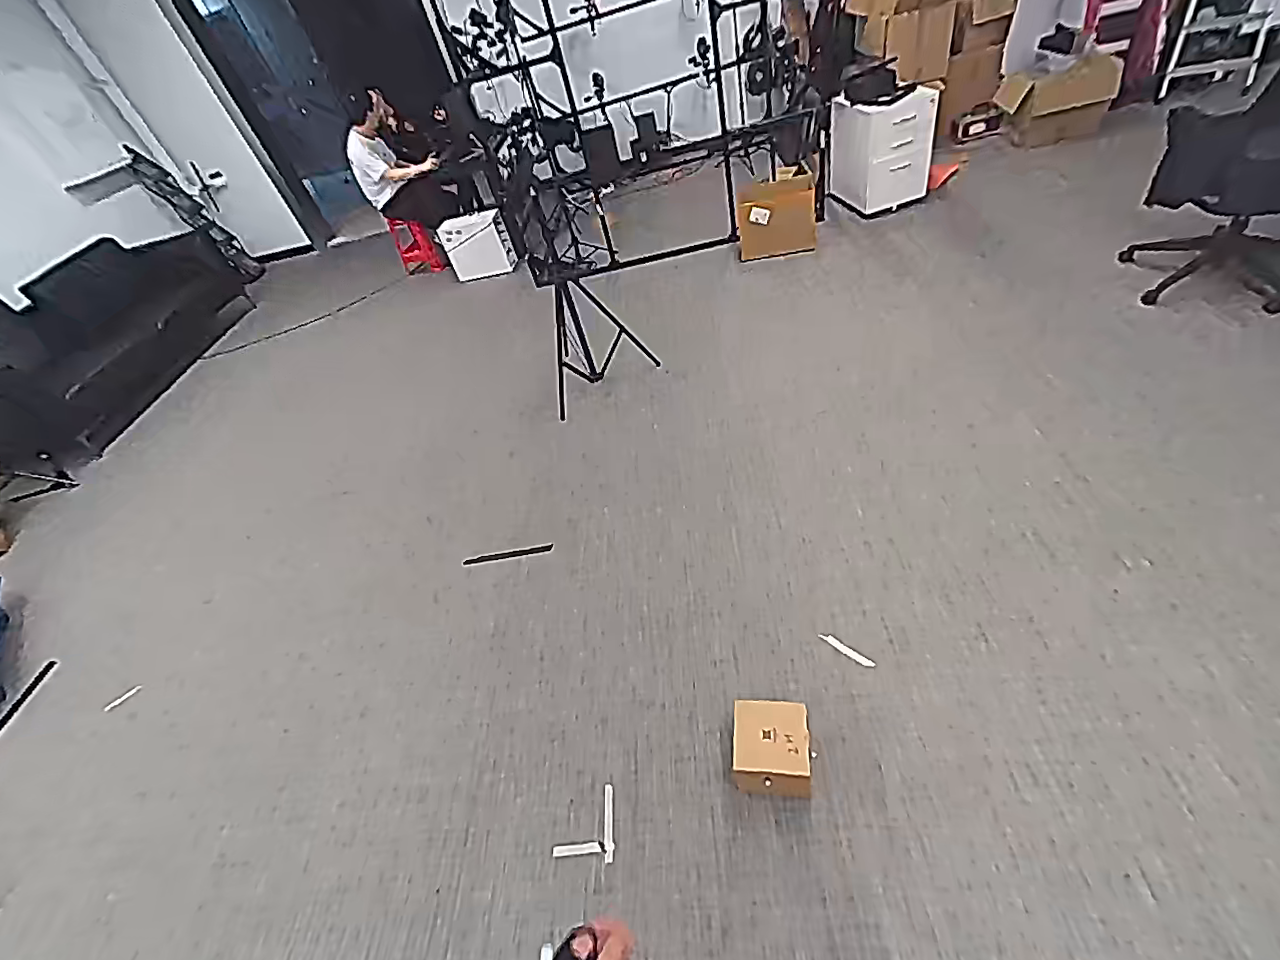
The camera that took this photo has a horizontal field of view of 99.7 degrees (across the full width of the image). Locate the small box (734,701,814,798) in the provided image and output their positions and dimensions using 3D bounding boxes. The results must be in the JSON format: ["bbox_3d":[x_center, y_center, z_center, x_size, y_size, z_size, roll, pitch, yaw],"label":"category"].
[{"bbox_3d":[0.330,0.663,1.328,0.179,0.176,0.168,-3,45,15],"label":"small box"}]
